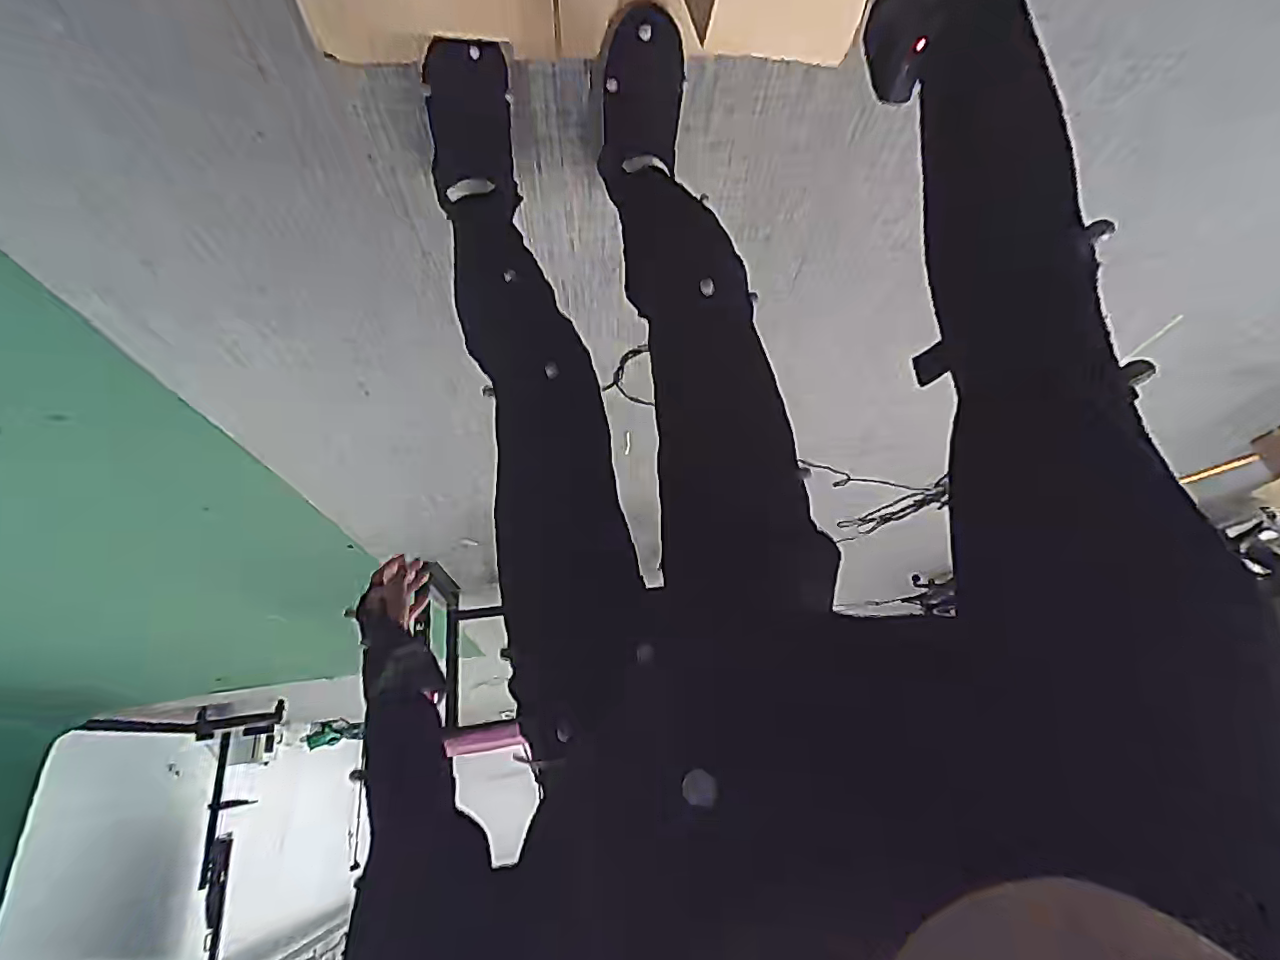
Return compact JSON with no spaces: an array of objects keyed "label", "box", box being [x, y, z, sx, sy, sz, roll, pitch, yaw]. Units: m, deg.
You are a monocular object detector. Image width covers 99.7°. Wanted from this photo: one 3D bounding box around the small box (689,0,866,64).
[{"label":"small box","box":[0.147,-0.575,0.551,0.168,0.176,0.179,-4,153,-14]}]
